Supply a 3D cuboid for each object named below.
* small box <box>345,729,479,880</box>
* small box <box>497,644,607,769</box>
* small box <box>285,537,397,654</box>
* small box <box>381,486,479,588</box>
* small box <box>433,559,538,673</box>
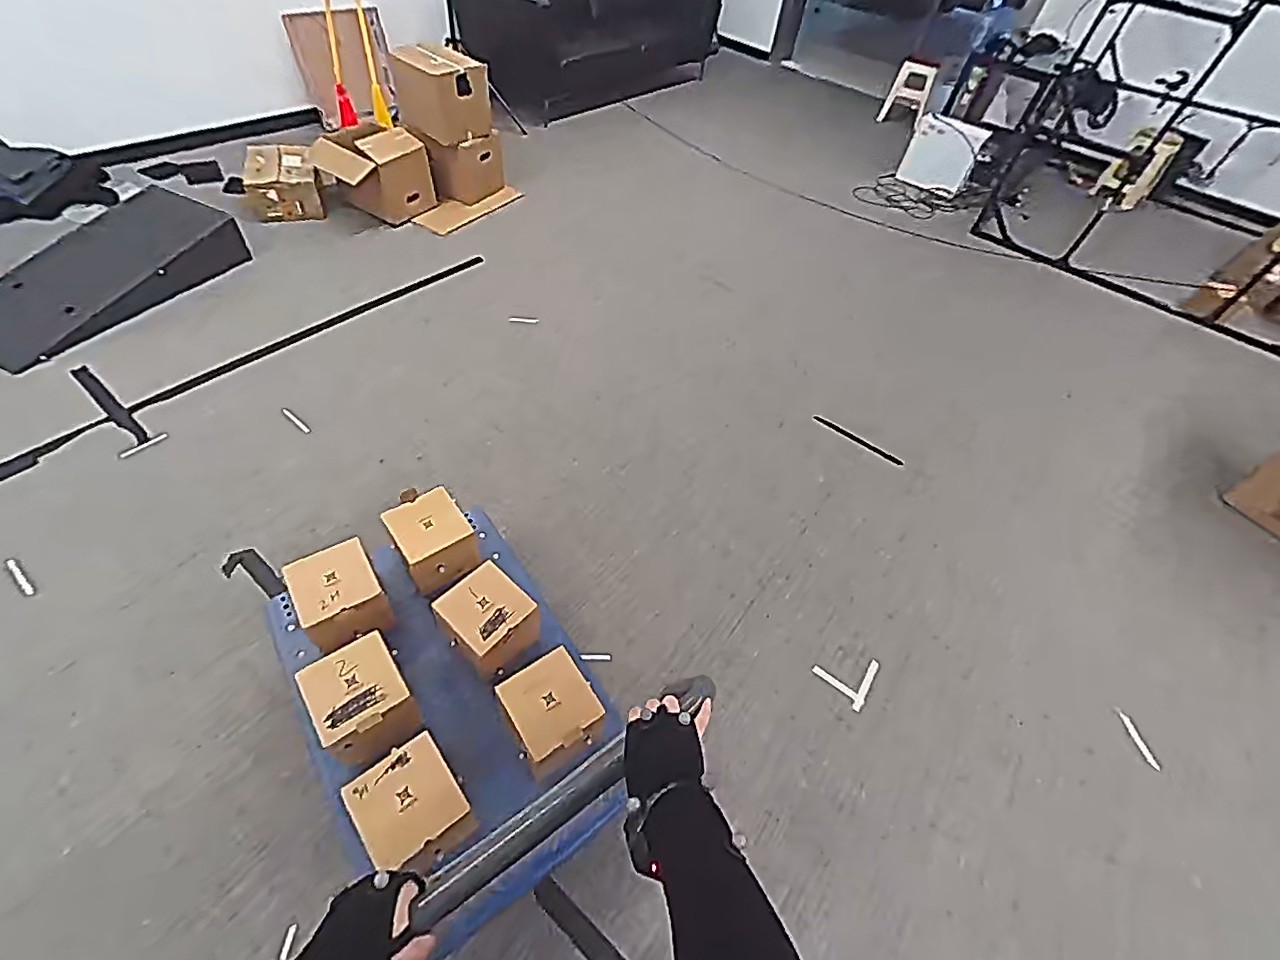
[{"bbox_3d":[-0.422,0.616,1.026,0.168,0.176,0.179,-30,61,-30],"label":"small box"},{"bbox_3d":[-0.189,0.495,1.167,0.168,0.176,0.179,-26,59,-28],"label":"small box"},{"bbox_3d":[-0.692,0.271,1.263,0.168,0.176,0.179,-25,60,-26],"label":"small box"},{"bbox_3d":[-0.531,0.154,1.388,0.168,0.176,0.179,-30,62,-29],"label":"small box"},{"bbox_3d":[-0.355,0.328,1.274,0.179,0.176,0.168,37,54,21],"label":"small box"}]
